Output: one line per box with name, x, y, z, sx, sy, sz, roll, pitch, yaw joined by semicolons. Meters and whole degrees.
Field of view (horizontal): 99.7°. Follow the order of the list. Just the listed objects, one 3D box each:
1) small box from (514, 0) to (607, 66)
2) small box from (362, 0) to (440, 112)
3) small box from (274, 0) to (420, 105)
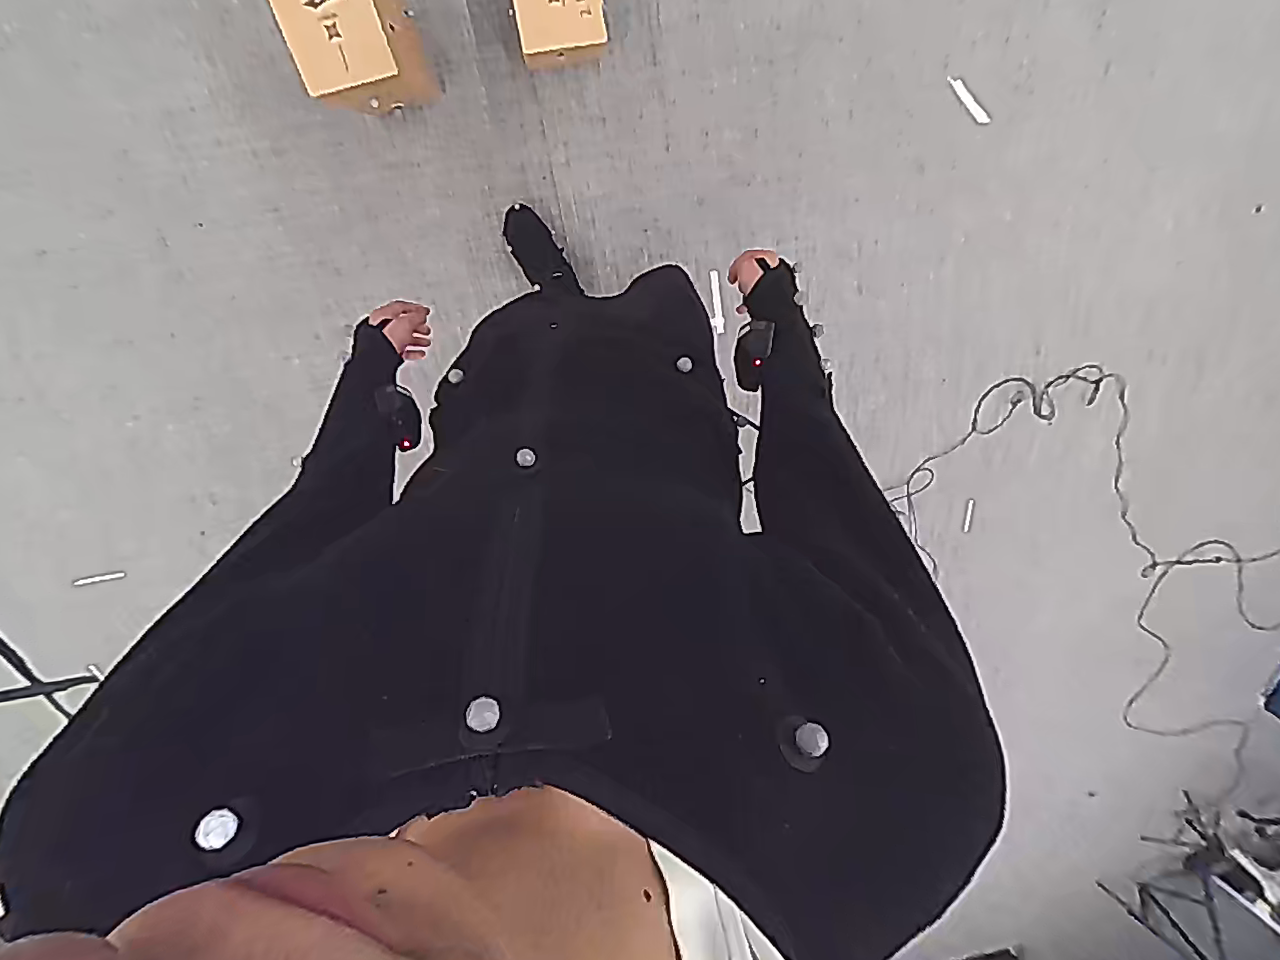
small box;-0.170;-0.987;1.126;0.179;0.176;0.168;-10;119;-4
small box;-0.540;-0.895;1.123;0.168;0.176;0.179;-16;119;1
small box;-0.527;-0.812;0.982;0.168;0.176;0.179;-14;120;1
